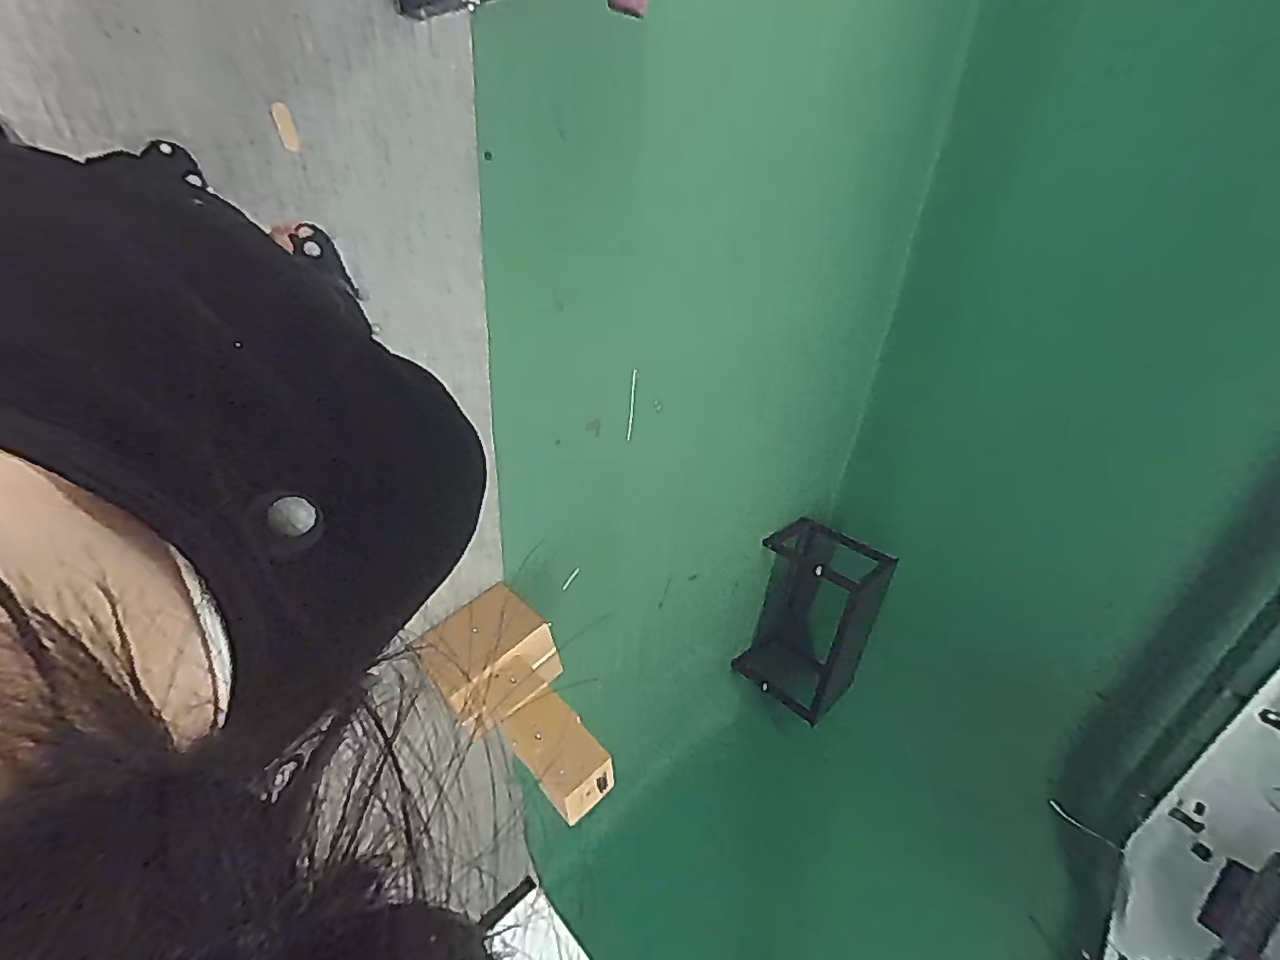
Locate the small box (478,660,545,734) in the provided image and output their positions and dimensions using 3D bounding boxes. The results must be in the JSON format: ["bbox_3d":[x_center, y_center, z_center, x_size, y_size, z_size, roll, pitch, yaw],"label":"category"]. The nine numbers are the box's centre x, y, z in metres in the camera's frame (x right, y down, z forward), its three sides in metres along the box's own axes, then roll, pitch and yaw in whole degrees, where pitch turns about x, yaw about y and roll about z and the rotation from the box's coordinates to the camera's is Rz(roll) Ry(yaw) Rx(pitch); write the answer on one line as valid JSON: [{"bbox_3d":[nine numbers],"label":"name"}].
[{"bbox_3d":[-0.430,0.741,1.836,0.168,0.176,0.179,-30,133,-35],"label":"small box"}]

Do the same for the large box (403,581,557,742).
[{"bbox_3d":[-0.584,0.661,2.015,0.408,0.320,0.320,-36,138,-32],"label":"large box"}]

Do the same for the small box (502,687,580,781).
[{"bbox_3d":[-0.318,0.809,1.742,0.179,0.176,0.168,-29,132,-36],"label":"small box"}]
